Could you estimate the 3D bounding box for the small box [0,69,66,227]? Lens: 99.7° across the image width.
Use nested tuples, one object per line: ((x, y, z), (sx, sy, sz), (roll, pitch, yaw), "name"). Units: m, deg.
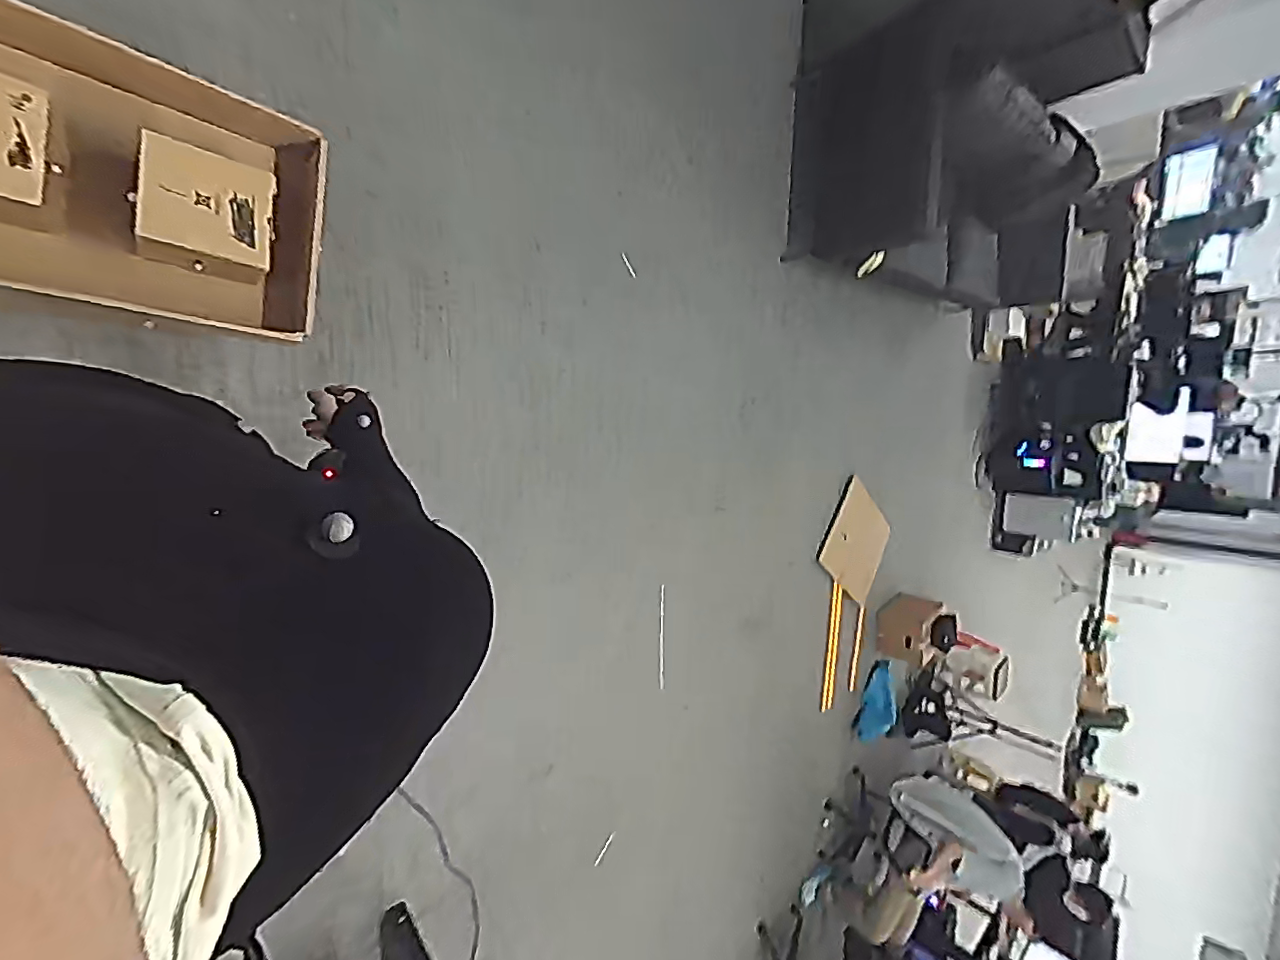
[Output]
((-0.962, -0.486, 0.767), (0.179, 0.176, 0.168), (5, 92, -40), "small box")
